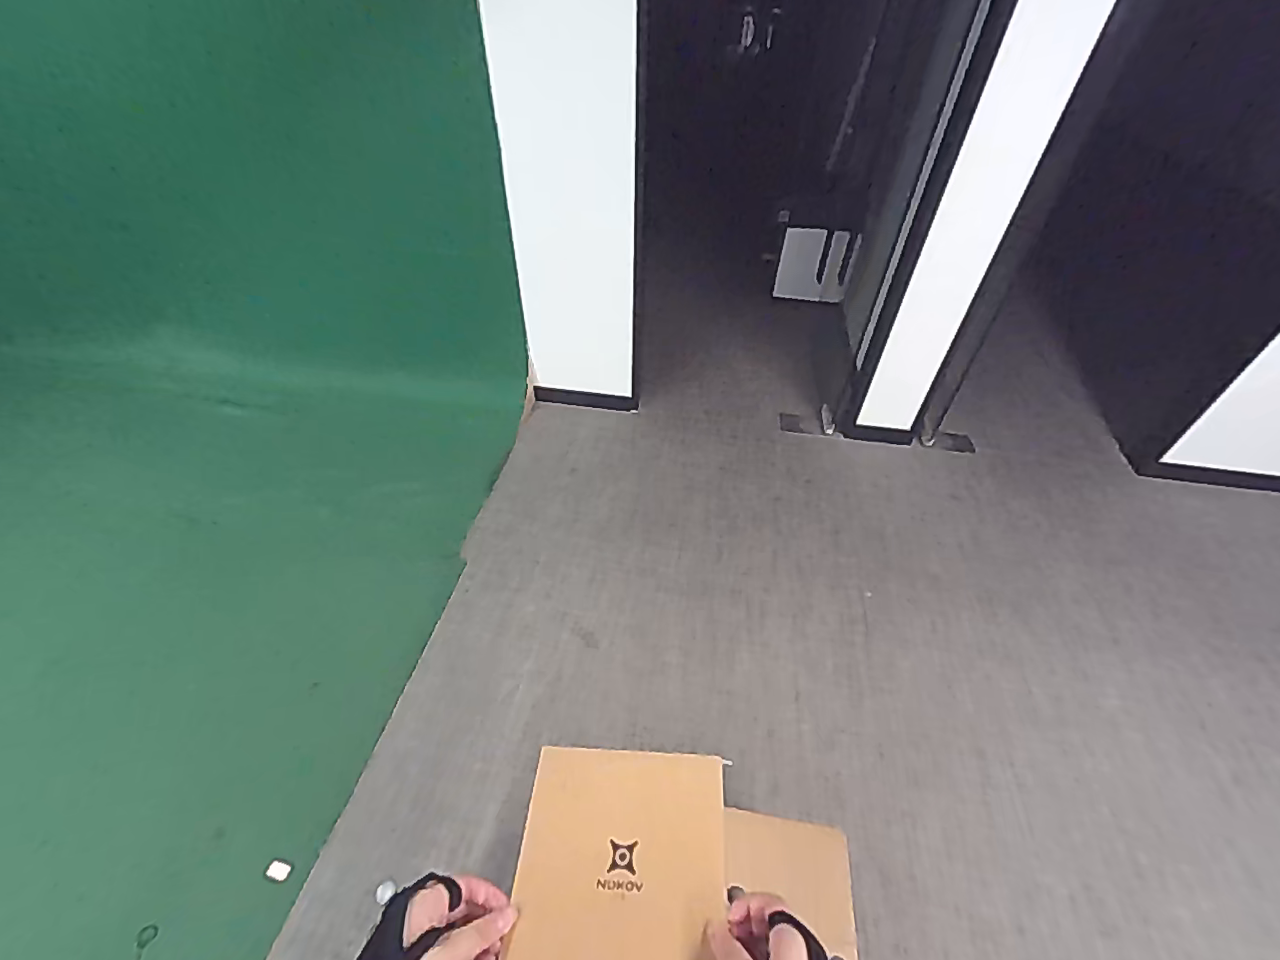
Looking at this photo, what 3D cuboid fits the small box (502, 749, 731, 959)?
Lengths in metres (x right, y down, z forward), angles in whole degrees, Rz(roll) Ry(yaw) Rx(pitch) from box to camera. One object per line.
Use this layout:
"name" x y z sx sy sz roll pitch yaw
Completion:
"small box" -0.011 0.364 0.478 0.168 0.176 0.179 1 44 4
